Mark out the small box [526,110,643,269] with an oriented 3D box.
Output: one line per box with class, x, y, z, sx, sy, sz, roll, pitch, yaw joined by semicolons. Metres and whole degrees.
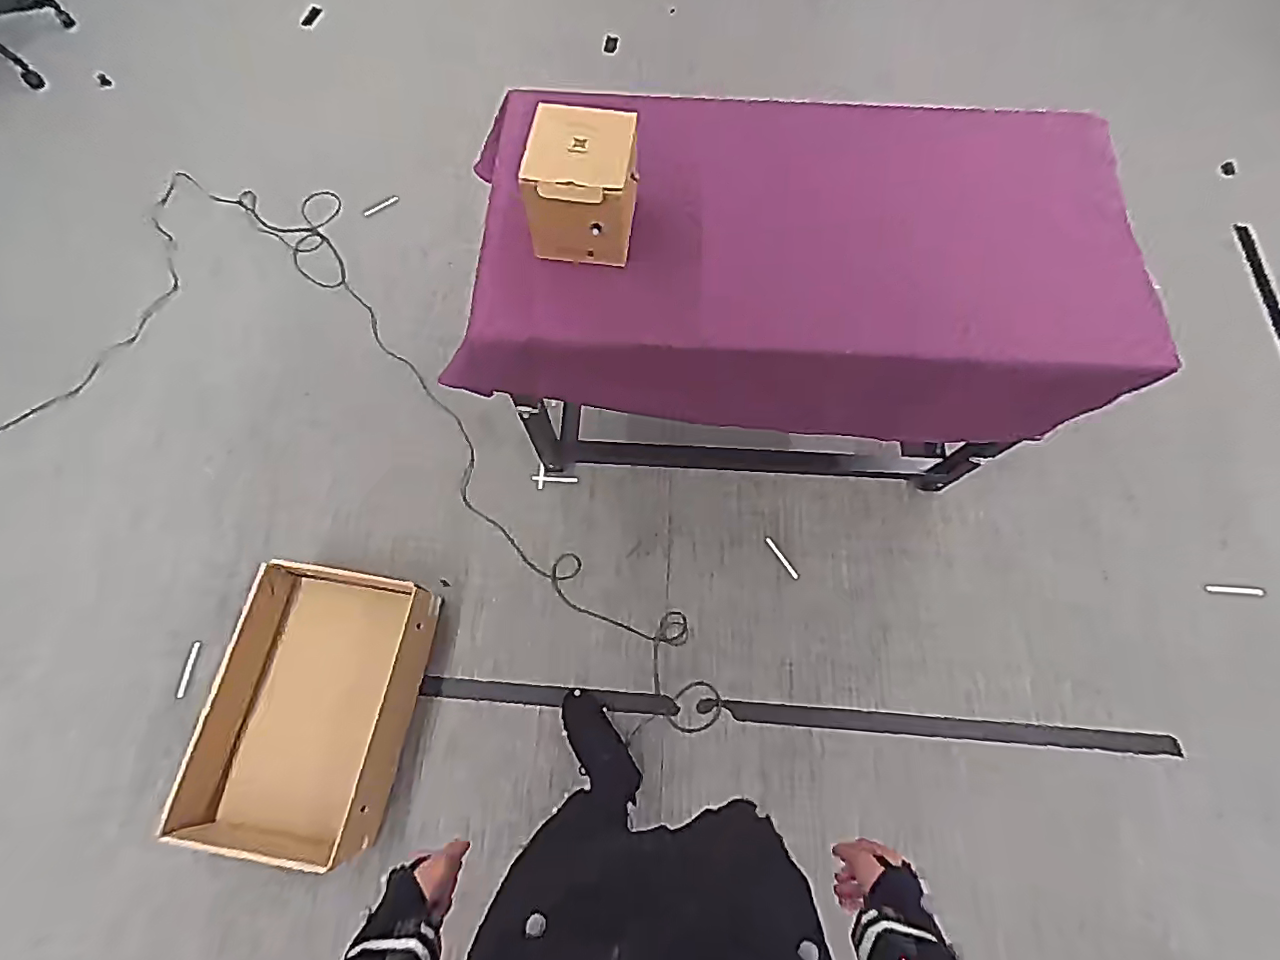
small box;-0.088;-0.496;0.941;0.168;0.176;0.179;8;70;2
